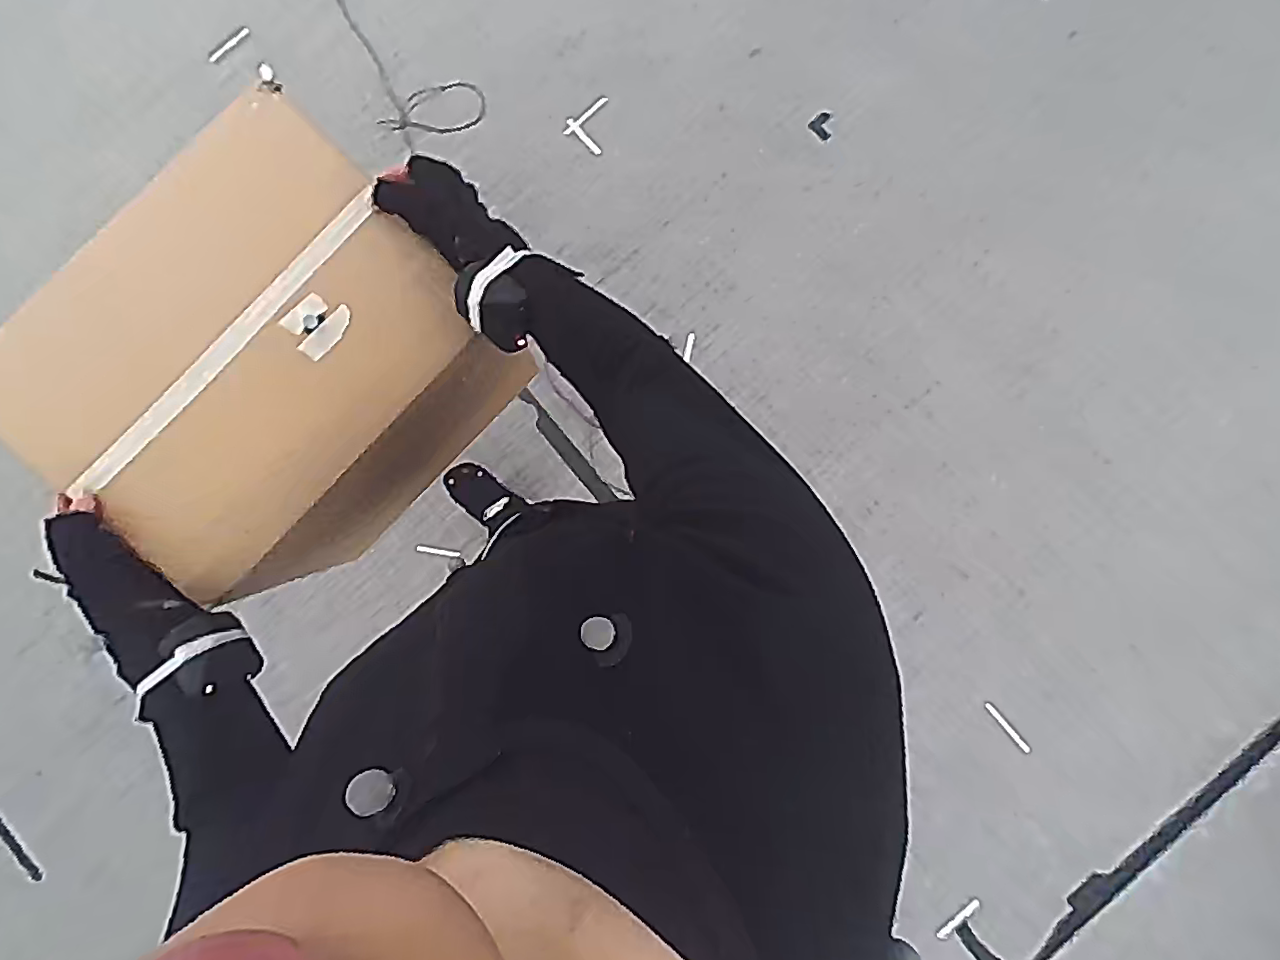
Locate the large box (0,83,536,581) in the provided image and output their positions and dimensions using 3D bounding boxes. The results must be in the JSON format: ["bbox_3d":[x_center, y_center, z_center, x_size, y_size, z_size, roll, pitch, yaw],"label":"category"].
[{"bbox_3d":[-0.391,-0.144,0.678,0.320,0.320,0.408,44,87,-4],"label":"large box"}]
